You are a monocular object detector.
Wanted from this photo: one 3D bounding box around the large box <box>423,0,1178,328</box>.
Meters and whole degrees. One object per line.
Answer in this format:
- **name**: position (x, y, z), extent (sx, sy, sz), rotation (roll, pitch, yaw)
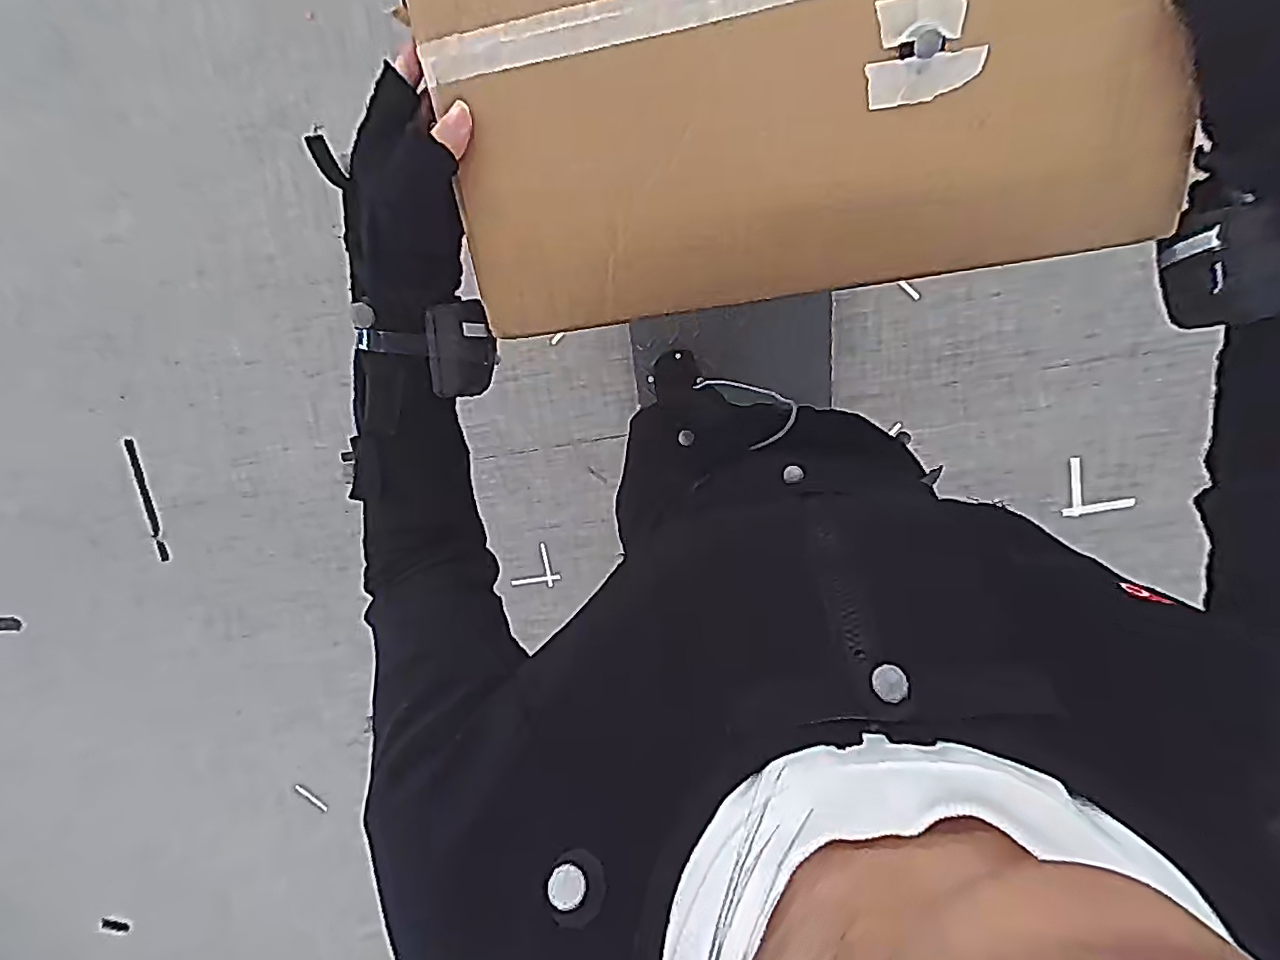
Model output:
- **large box**: position (0.087, -0.322, 0.430), extent (0.408, 0.320, 0.320), rotation (-7, 111, 8)
